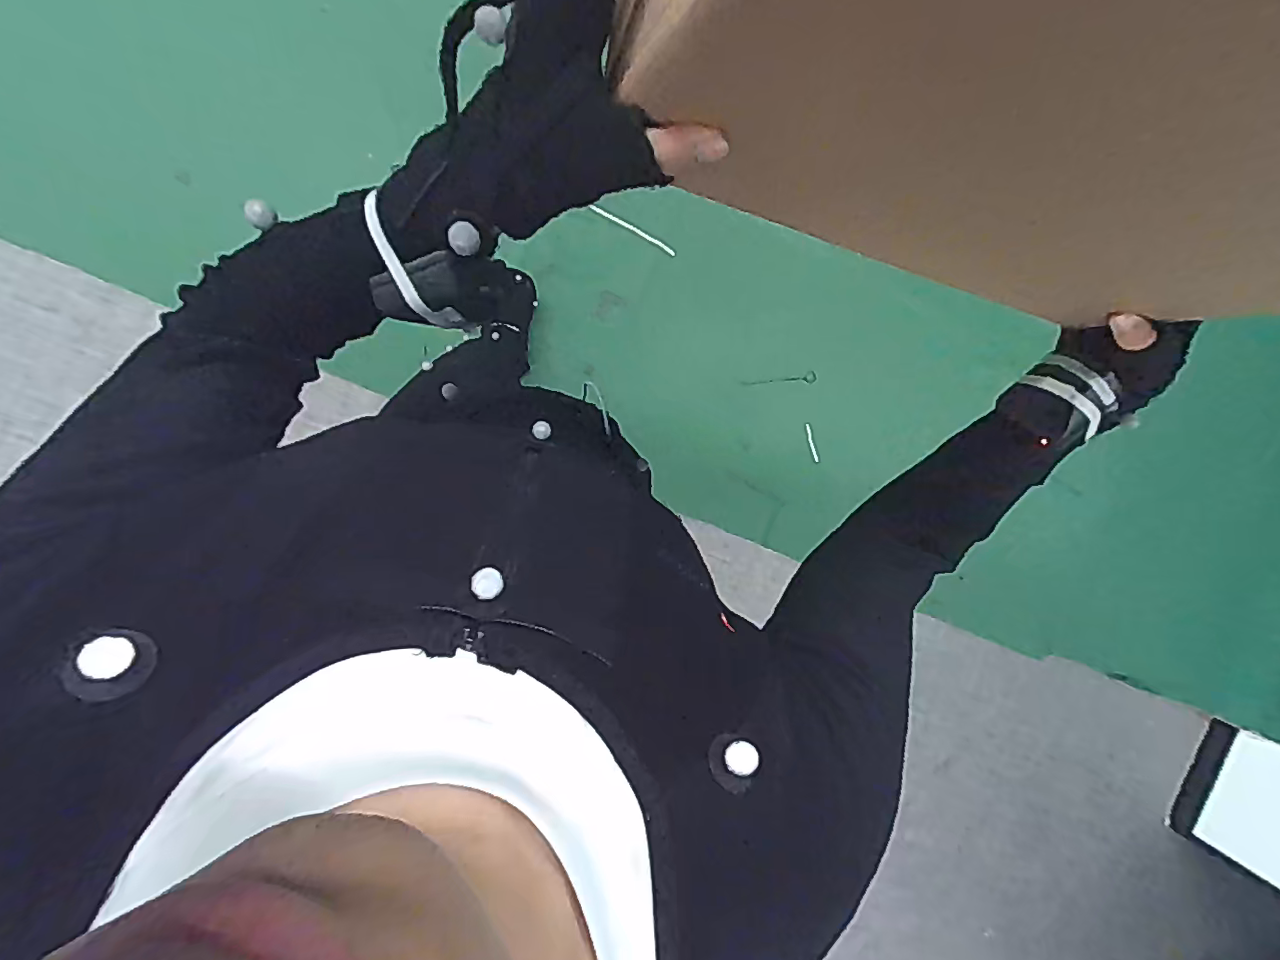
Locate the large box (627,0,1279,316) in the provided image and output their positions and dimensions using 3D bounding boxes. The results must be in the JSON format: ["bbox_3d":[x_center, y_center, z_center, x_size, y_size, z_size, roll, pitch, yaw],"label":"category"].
[{"bbox_3d":[0.247,-0.268,0.198,0.408,0.320,0.320,6,99,-24],"label":"large box"}]
